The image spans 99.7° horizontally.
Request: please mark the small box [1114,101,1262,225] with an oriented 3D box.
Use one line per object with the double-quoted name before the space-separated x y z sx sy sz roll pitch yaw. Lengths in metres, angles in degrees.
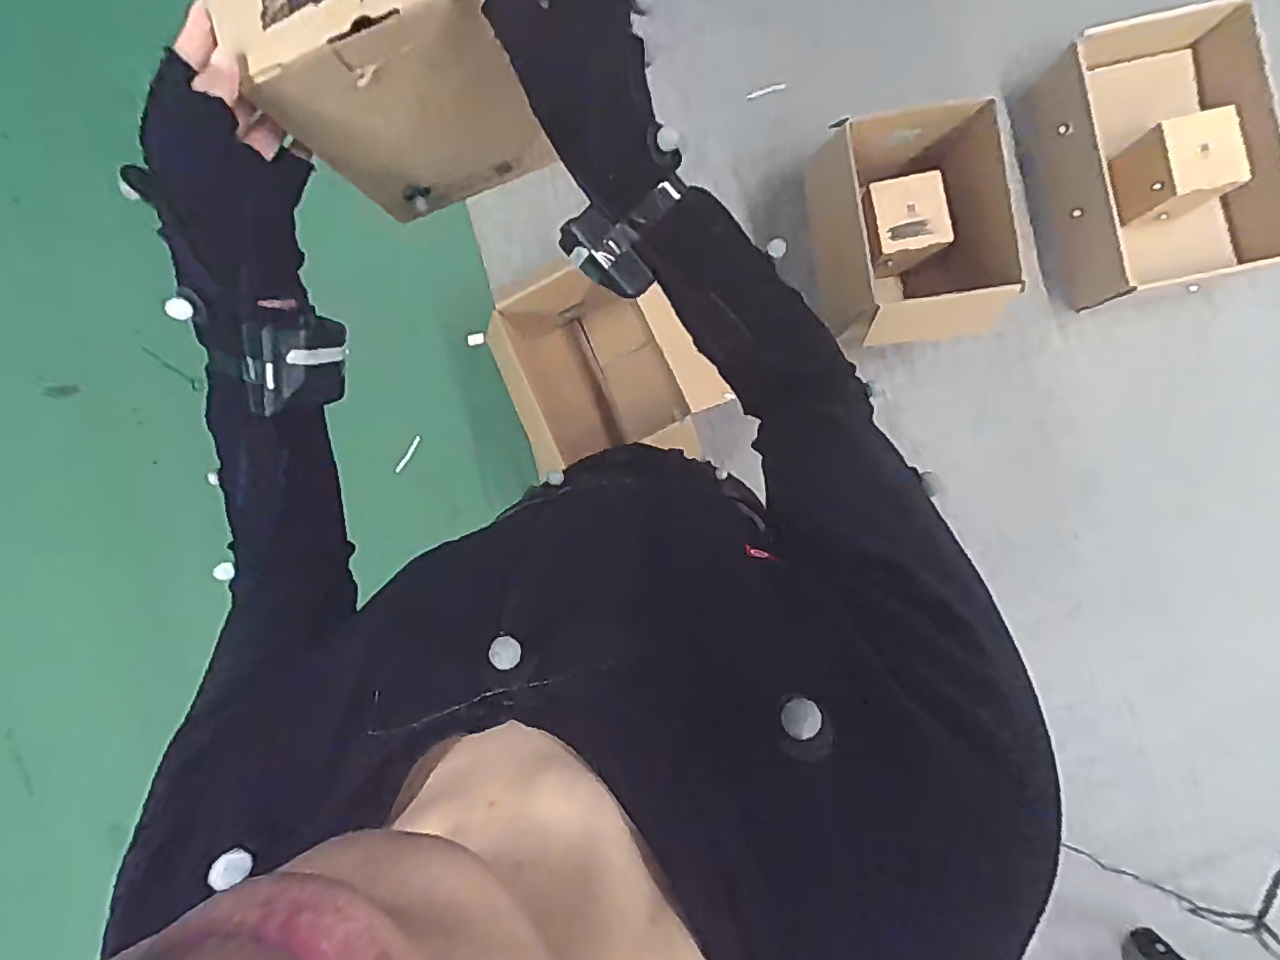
"small box" 1.271 -0.735 1.270 0.168 0.176 0.179 -12 89 3
